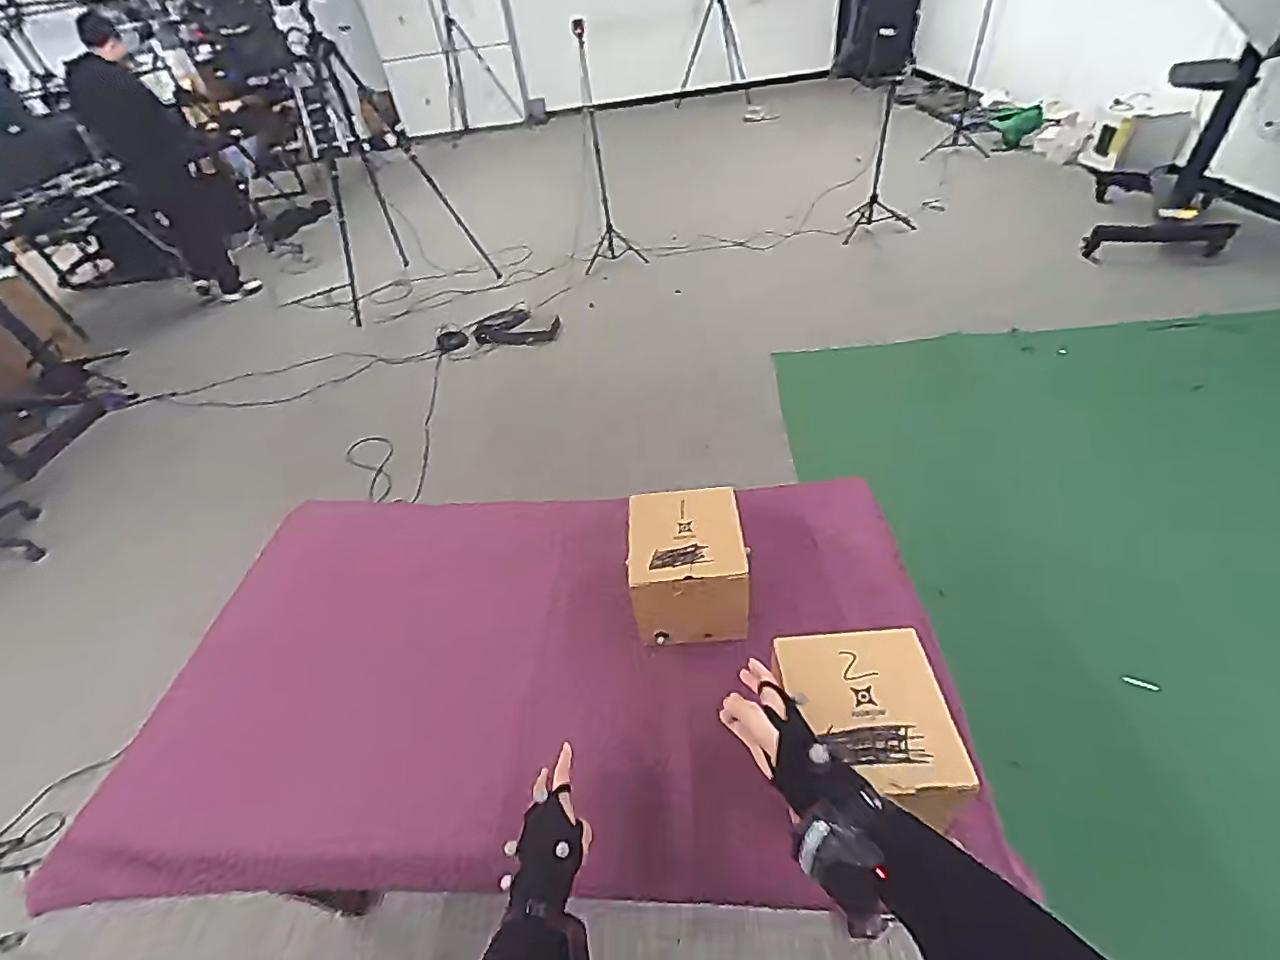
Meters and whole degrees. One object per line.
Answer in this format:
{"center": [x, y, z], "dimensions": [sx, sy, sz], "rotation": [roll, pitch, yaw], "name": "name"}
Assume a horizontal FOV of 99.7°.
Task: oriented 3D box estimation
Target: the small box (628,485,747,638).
{"center": [0.076, 0.133, 0.843], "dimensions": [0.168, 0.176, 0.179], "rotation": [-5, 42, 5], "name": "small box"}
